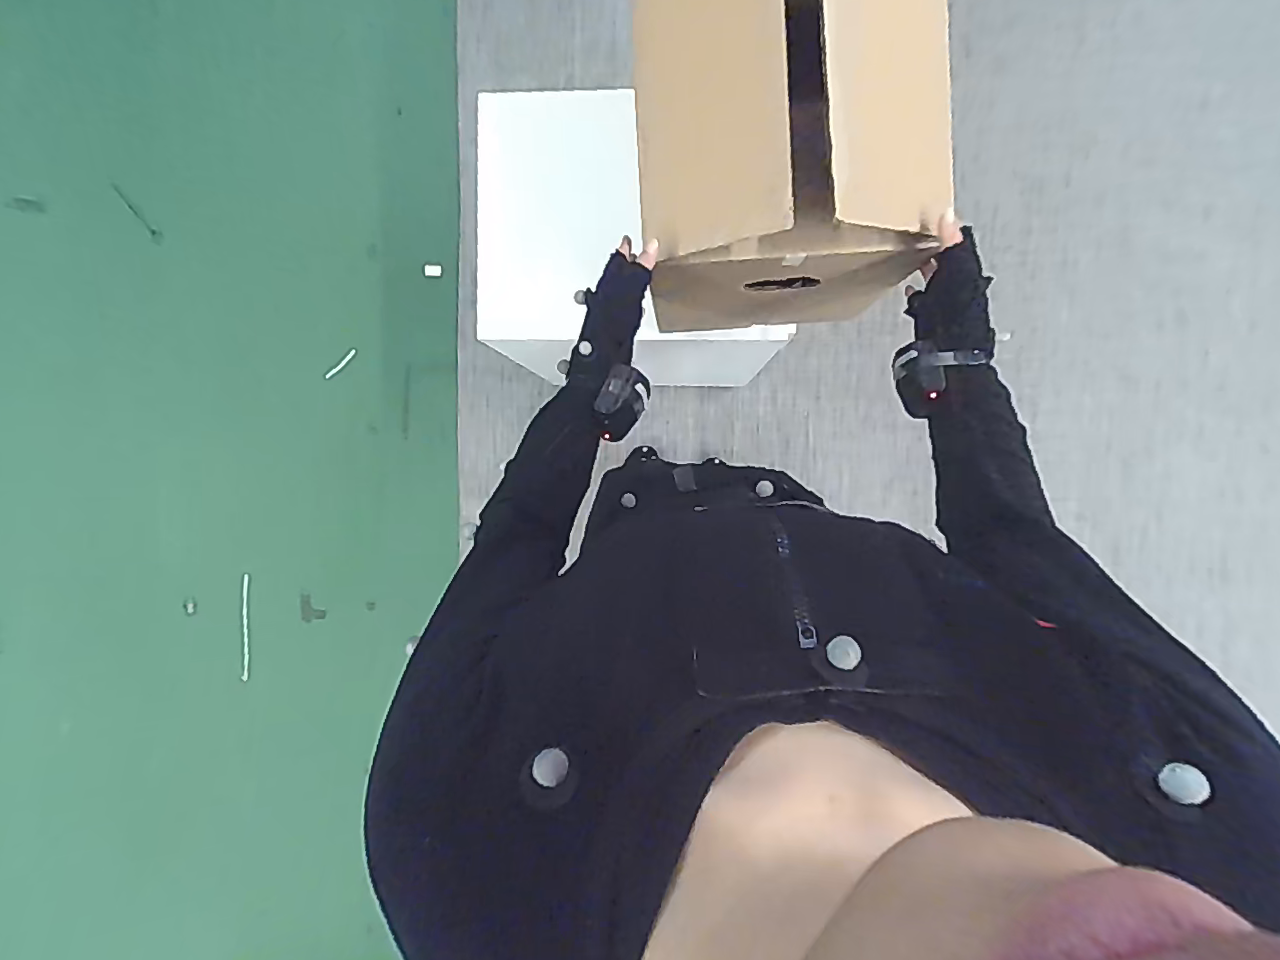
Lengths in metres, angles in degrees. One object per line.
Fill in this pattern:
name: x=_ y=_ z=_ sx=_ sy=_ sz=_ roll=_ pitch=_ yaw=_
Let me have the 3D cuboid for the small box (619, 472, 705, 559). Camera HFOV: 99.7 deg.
small box: x=0.050 y=0.087 z=1.427 sx=0.168 sy=0.176 sz=0.179 roll=15 pitch=94 yaw=-13
